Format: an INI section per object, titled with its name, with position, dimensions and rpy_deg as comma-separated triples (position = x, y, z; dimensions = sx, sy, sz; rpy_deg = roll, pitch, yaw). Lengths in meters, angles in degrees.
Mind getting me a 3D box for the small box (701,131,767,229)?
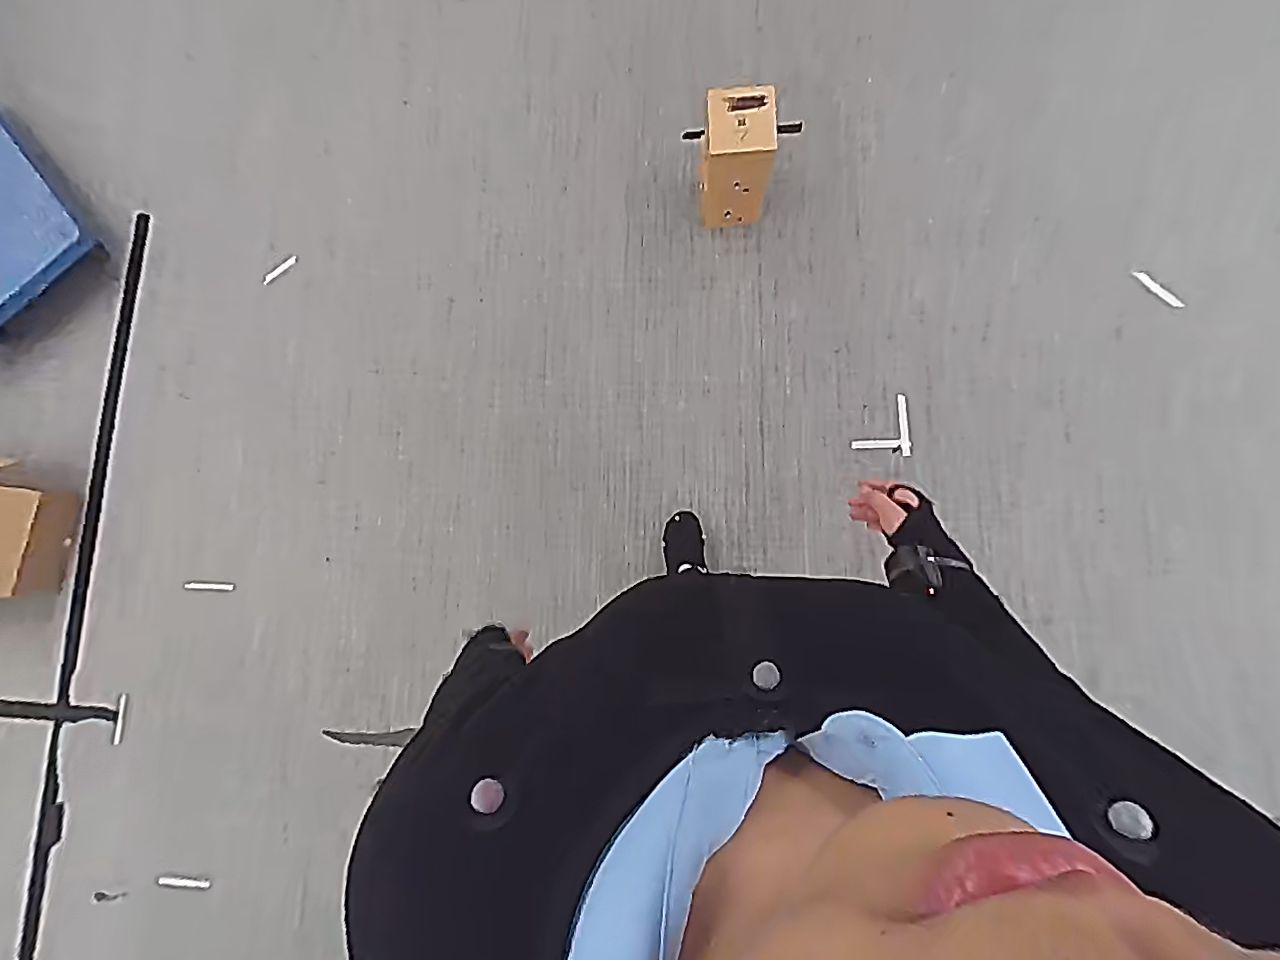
[small box]
position = 0.266, -0.860, 1.561
dimensions = 0.168, 0.176, 0.179
rpy_deg = -5, 82, 5
